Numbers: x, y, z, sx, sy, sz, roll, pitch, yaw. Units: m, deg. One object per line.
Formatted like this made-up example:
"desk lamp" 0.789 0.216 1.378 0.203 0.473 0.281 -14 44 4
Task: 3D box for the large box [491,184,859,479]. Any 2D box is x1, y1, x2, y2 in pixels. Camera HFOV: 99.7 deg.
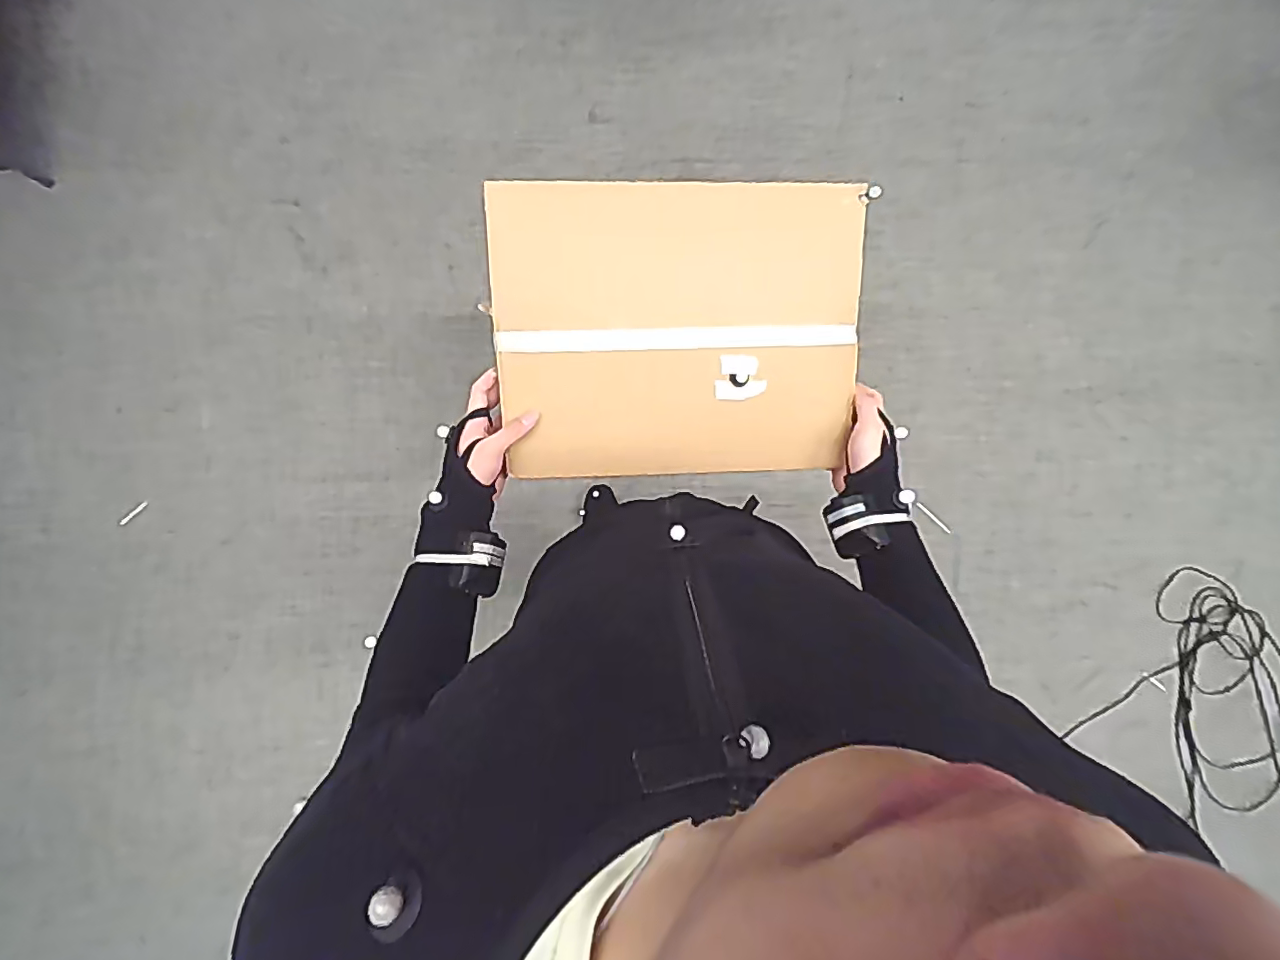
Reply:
"large box" 0.034 -0.197 0.753 0.408 0.320 0.320 -3 105 -5
